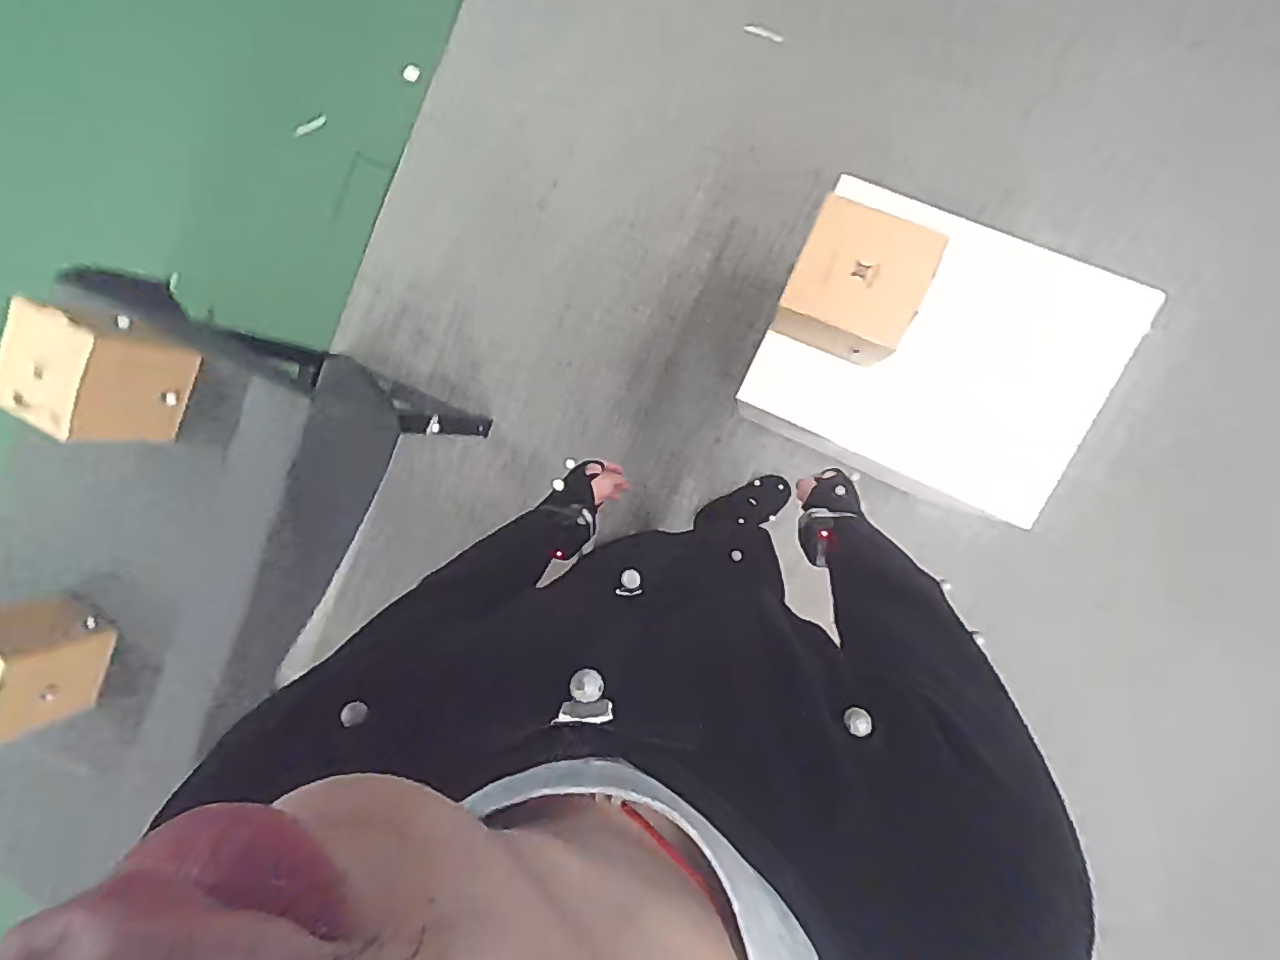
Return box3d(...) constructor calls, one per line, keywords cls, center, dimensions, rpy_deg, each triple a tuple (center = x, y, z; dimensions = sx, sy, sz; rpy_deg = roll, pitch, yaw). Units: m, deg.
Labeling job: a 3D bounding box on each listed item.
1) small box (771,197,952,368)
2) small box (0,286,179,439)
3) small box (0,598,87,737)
box3d(cls="small box", center=(0.312, -0.277, 0.804), dimensions=(0.179, 0.176, 0.168), rpy_deg=(24, 95, 7))
box3d(cls="small box", center=(-0.906, -0.179, 0.873), dimensions=(0.168, 0.176, 0.179), rpy_deg=(27, 97, 7))
box3d(cls="small box", center=(-1.129, 0.330, 0.937), dimensions=(0.168, 0.176, 0.179), rpy_deg=(26, 97, 8))
